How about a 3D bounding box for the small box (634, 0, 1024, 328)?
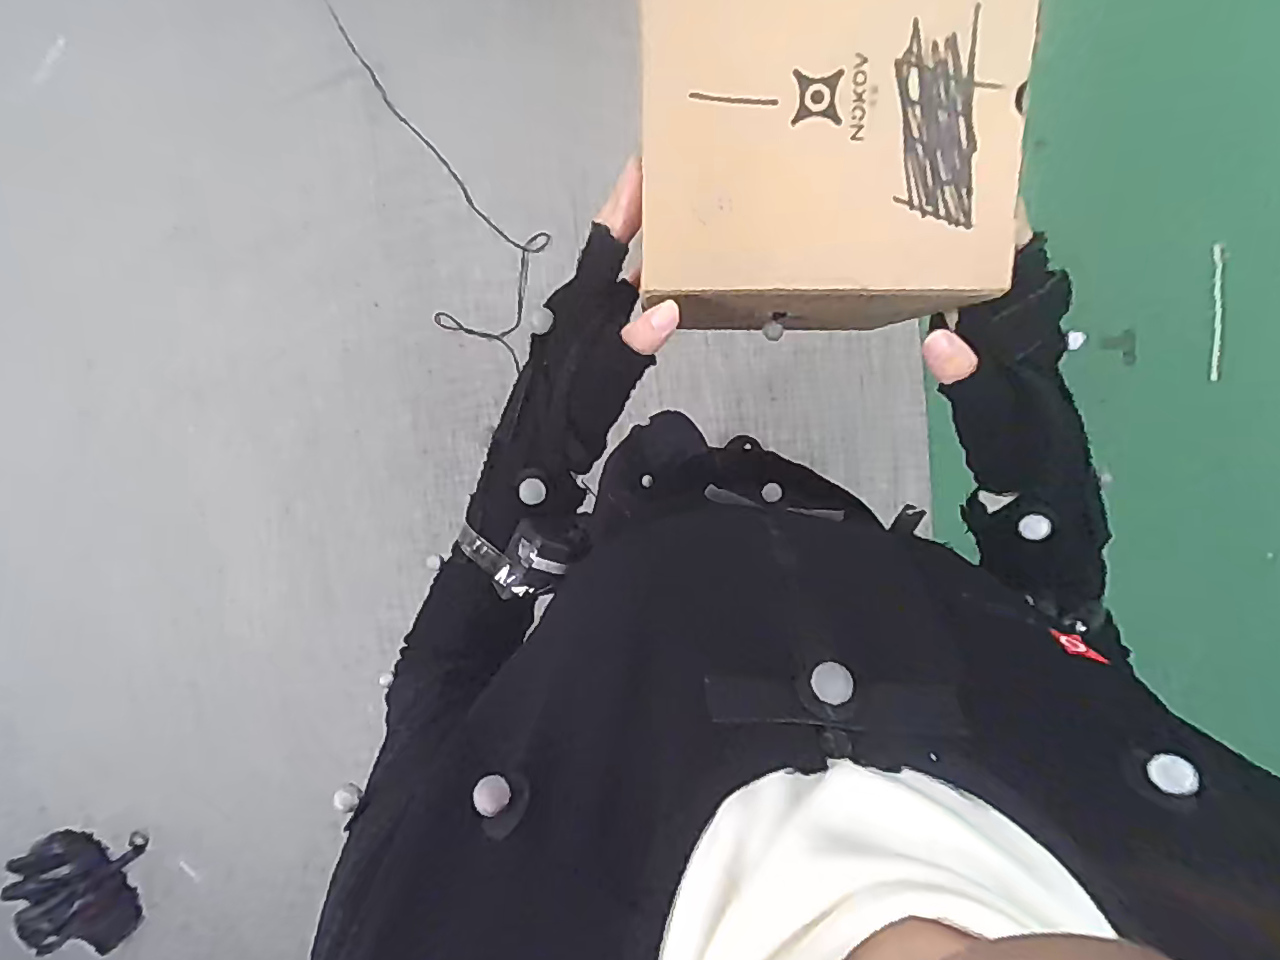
[{"bbox_3d":[0.087,-0.187,0.328,0.179,0.176,0.168,-3,100,0],"label":"small box"}]
